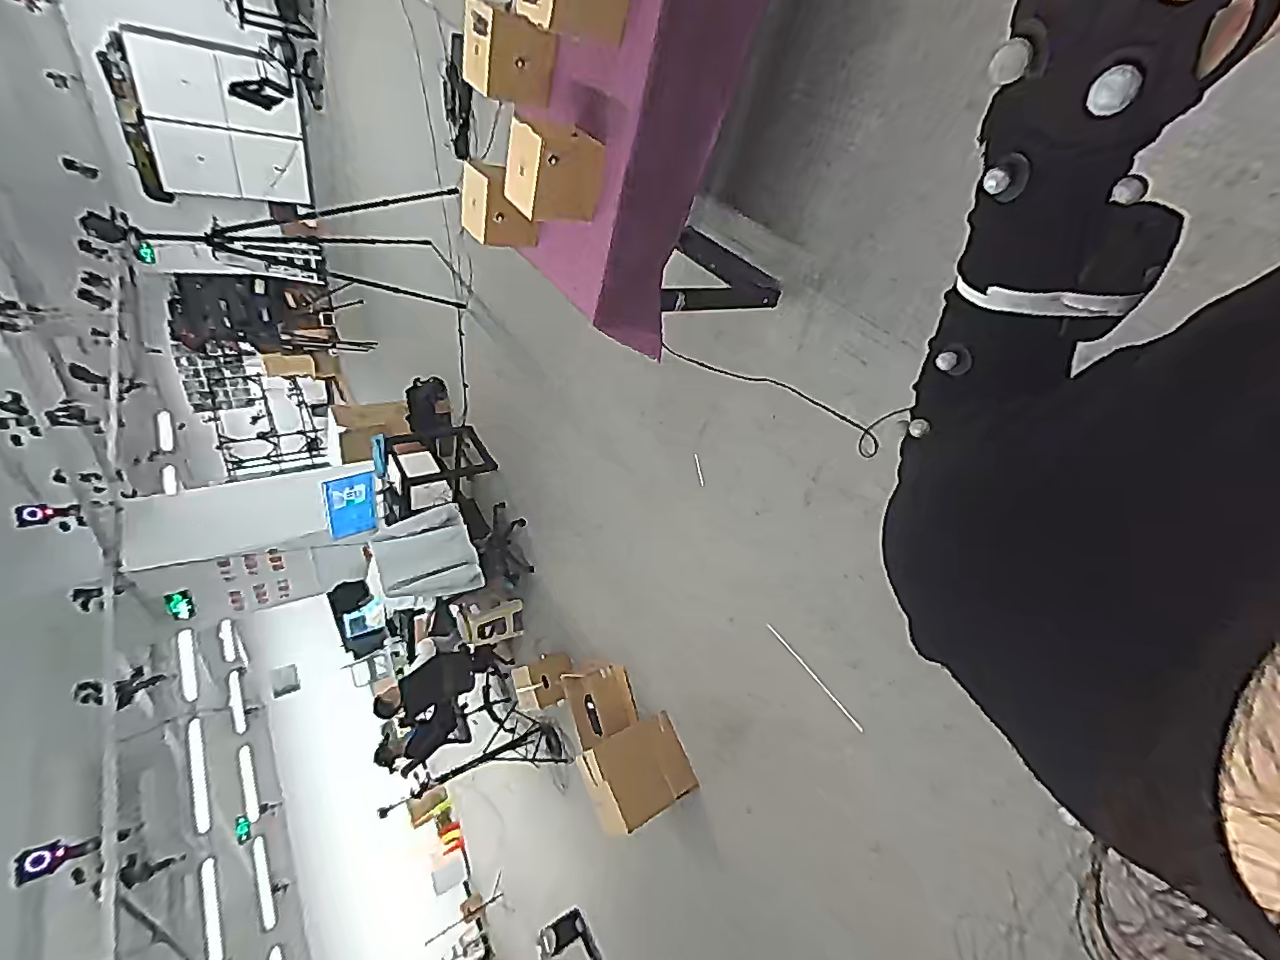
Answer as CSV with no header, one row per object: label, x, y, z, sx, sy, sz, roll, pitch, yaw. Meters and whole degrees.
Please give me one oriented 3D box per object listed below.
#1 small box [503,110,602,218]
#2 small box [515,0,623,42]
small box,-0.211,-0.748,1.294,0.168,0.176,0.179,51,138,32
small box,-0.131,-1.017,1.081,0.168,0.176,0.179,52,138,30
